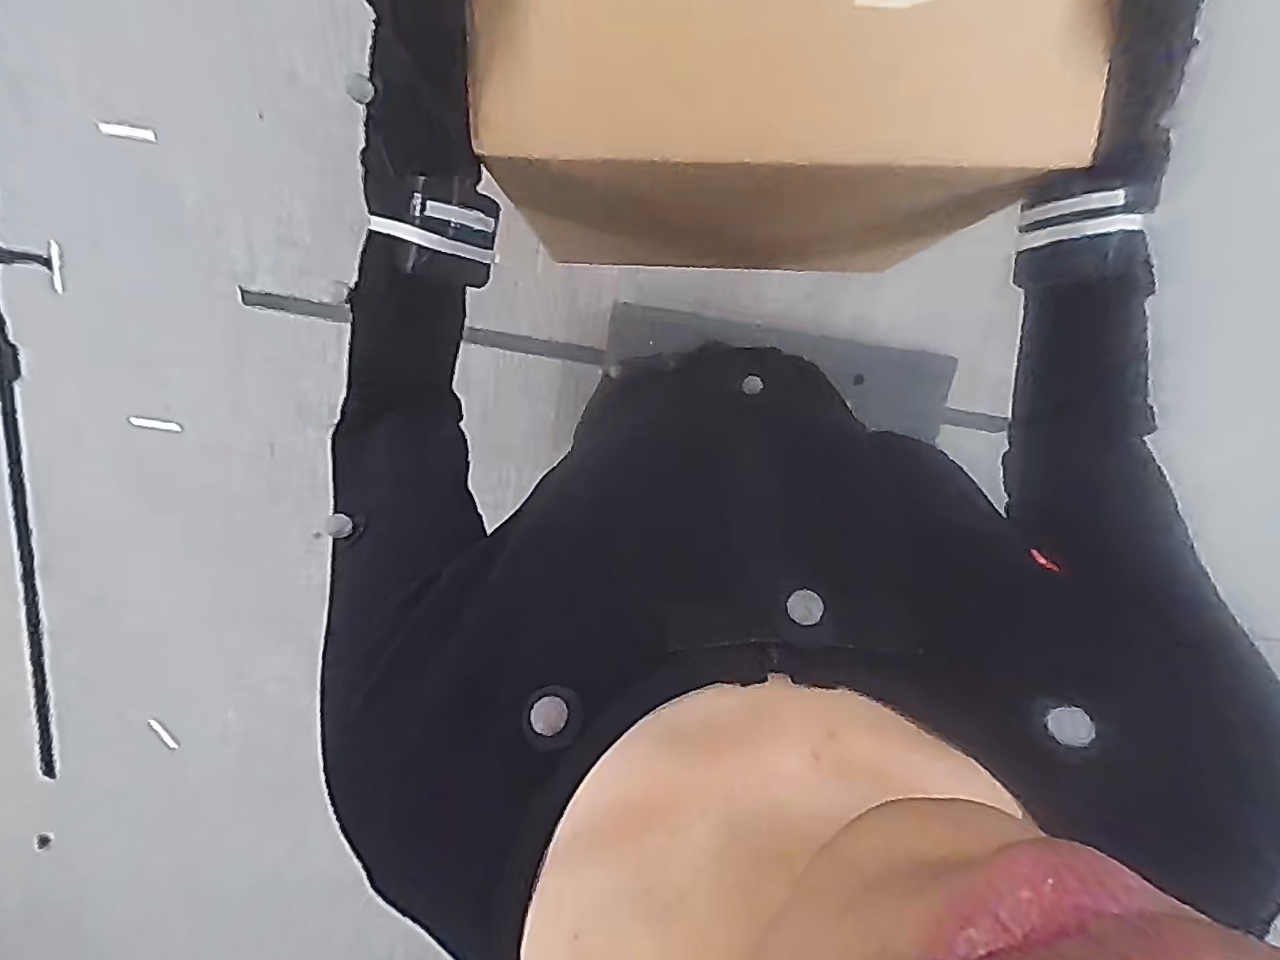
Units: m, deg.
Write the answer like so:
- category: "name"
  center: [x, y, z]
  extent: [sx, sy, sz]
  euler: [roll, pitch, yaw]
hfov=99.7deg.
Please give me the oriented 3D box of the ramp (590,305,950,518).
- category: "ramp"
  center: [0.379, -0.169, 1.518]
  extent: [0.991, 0.206, 0.509]
  euler: [6, 101, 0]

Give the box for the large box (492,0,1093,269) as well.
- category: "large box"
  center: [0.099, -0.391, 0.495]
  extent: [0.408, 0.320, 0.320]
  euler: [2, 99, 0]
